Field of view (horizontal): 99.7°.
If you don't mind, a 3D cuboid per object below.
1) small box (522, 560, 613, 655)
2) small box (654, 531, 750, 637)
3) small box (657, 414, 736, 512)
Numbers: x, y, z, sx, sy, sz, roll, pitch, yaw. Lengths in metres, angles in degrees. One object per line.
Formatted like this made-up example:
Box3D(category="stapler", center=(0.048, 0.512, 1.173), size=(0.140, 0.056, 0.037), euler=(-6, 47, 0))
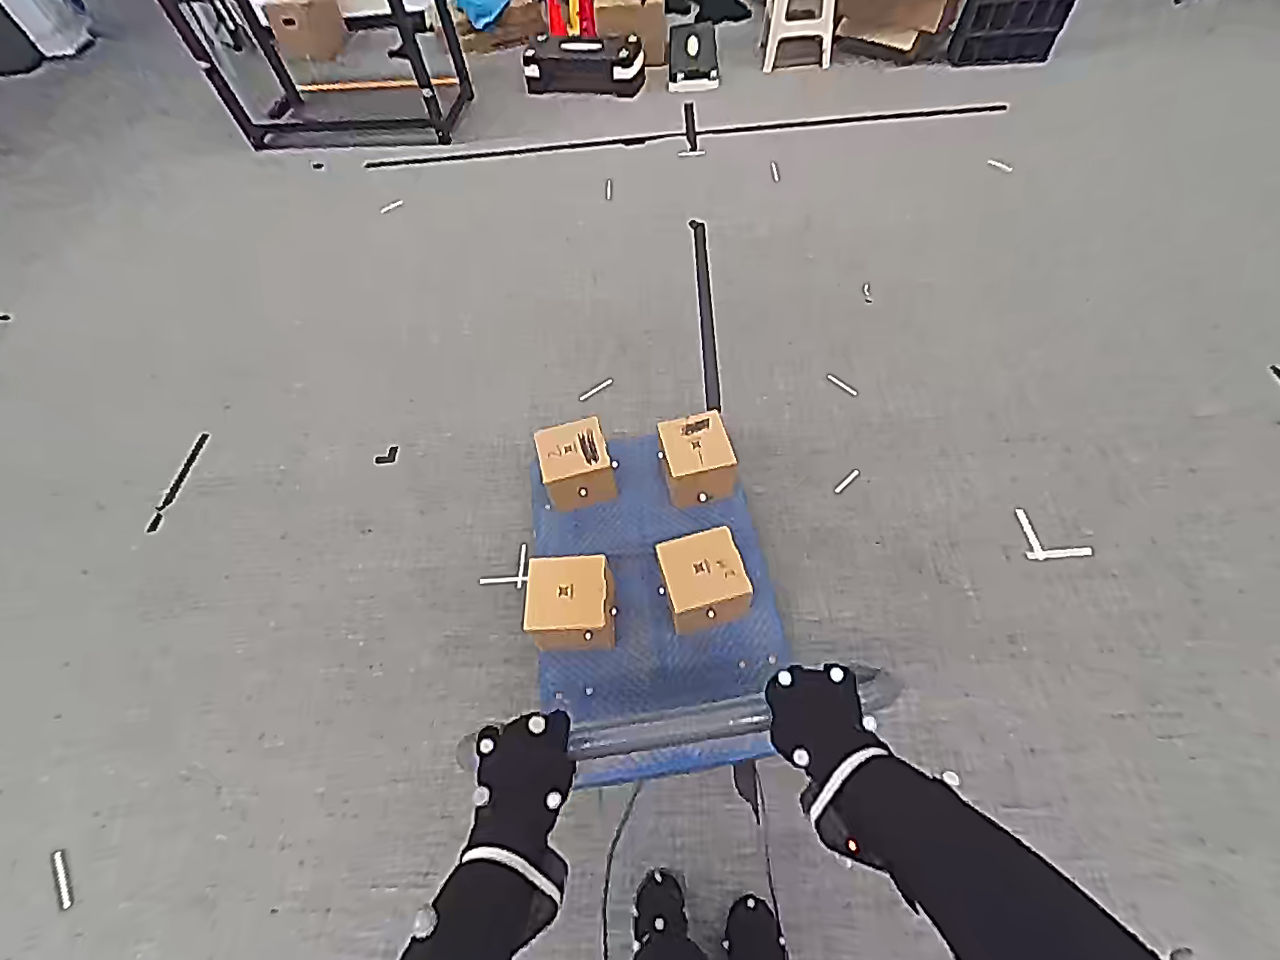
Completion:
Box3D(category="small box", center=(-0.159, 0.296, 1.238), size=(0.179, 0.176, 0.168), euler=(-3, 57, 2))
Box3D(category="small box", center=(0.140, 0.244, 1.241), size=(0.179, 0.176, 0.168), euler=(-15, 58, -4))
Box3D(category="small box", center=(0.142, -0.043, 1.421), size=(0.168, 0.176, 0.179), euler=(-13, 59, -3))
